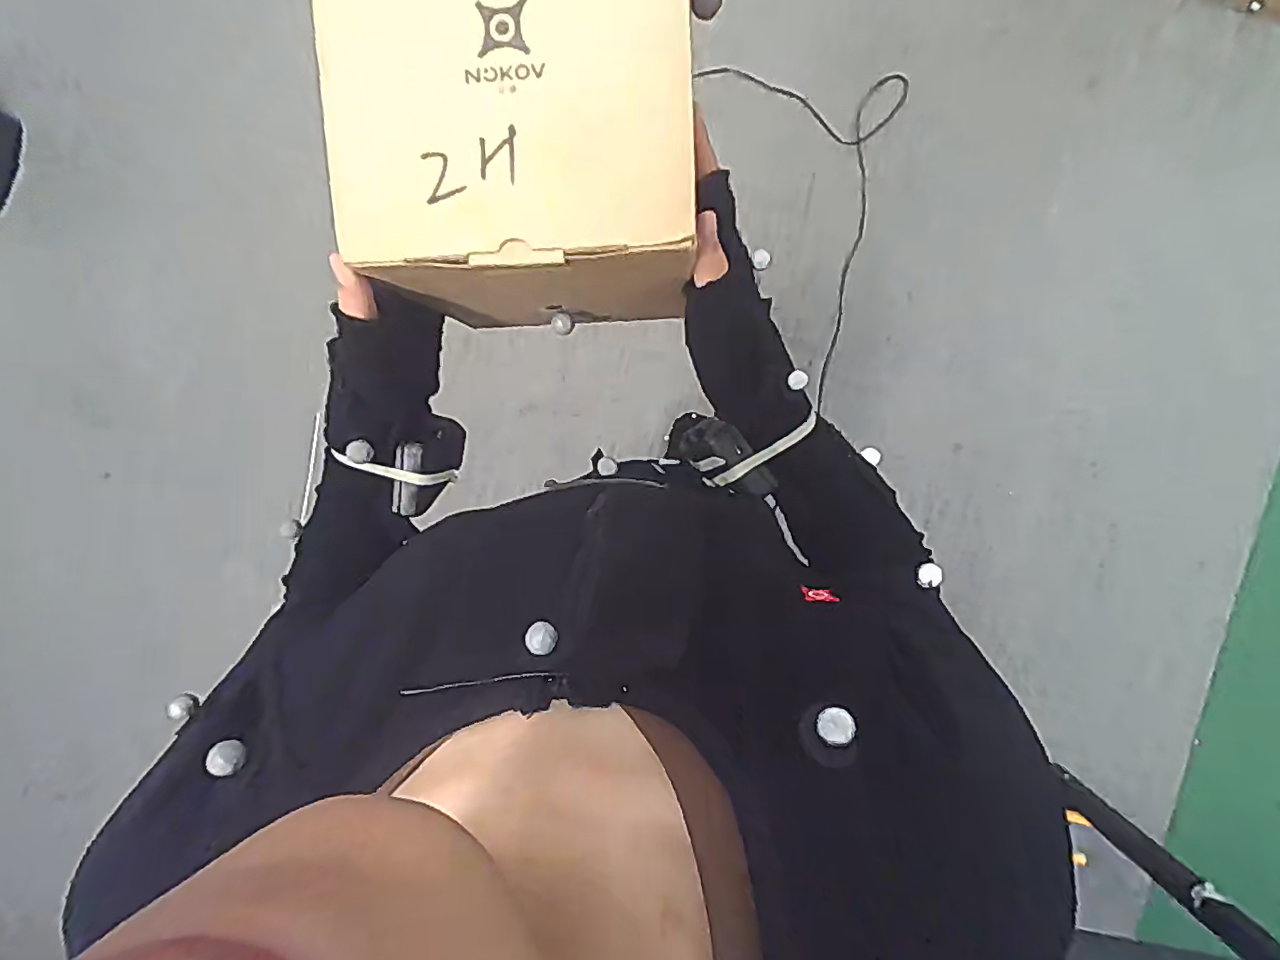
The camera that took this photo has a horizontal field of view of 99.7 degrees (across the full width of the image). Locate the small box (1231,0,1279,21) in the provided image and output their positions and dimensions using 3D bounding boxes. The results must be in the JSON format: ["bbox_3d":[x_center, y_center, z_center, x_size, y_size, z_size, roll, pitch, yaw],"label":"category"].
[{"bbox_3d":[1.551,-1.226,1.258,0.168,0.176,0.179,14,94,1],"label":"small box"}]
